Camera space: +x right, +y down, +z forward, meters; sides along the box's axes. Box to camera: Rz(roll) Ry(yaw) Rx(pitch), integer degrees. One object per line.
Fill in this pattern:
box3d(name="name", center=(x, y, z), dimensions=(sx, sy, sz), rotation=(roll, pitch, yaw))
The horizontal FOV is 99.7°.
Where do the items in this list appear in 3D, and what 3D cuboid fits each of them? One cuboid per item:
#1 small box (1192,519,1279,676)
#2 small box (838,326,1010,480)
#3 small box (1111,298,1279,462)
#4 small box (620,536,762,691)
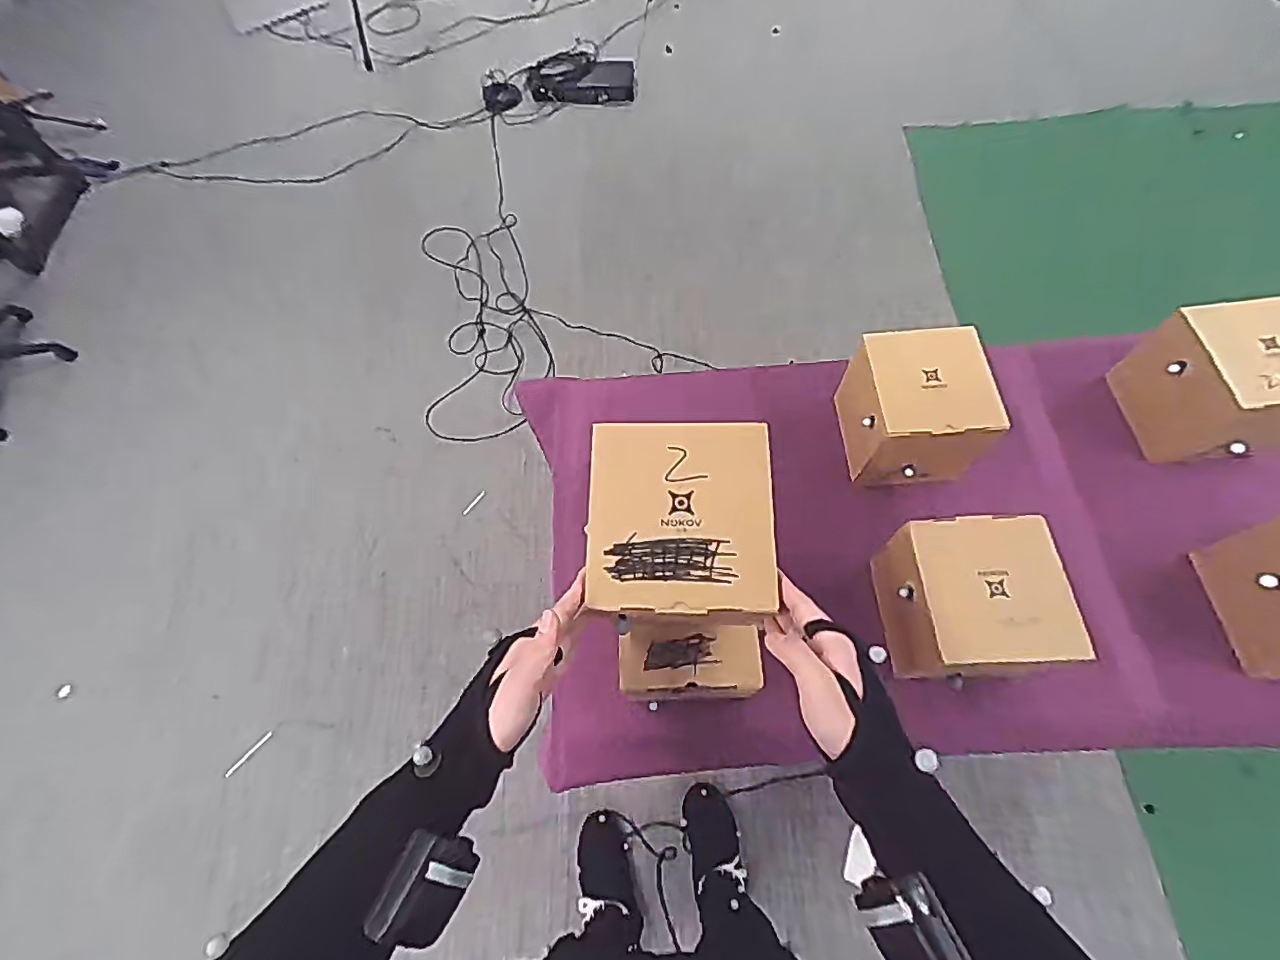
box3d(name="small box", center=(0.877, 0.145, 0.683), dimensions=(0.168, 0.176, 0.179), rotation=(-2, 63, 5))
box3d(name="small box", center=(0.421, -0.114, 0.840), dimensions=(0.168, 0.176, 0.179), rotation=(-3, 66, 2))
box3d(name="small box", center=(0.875, -0.146, 0.816), dimensions=(0.168, 0.176, 0.179), rotation=(-5, 65, 5))
box3d(name="small box", center=(0.063, 0.186, 0.723), dimensions=(0.168, 0.176, 0.179), rotation=(-3, 64, 2))
